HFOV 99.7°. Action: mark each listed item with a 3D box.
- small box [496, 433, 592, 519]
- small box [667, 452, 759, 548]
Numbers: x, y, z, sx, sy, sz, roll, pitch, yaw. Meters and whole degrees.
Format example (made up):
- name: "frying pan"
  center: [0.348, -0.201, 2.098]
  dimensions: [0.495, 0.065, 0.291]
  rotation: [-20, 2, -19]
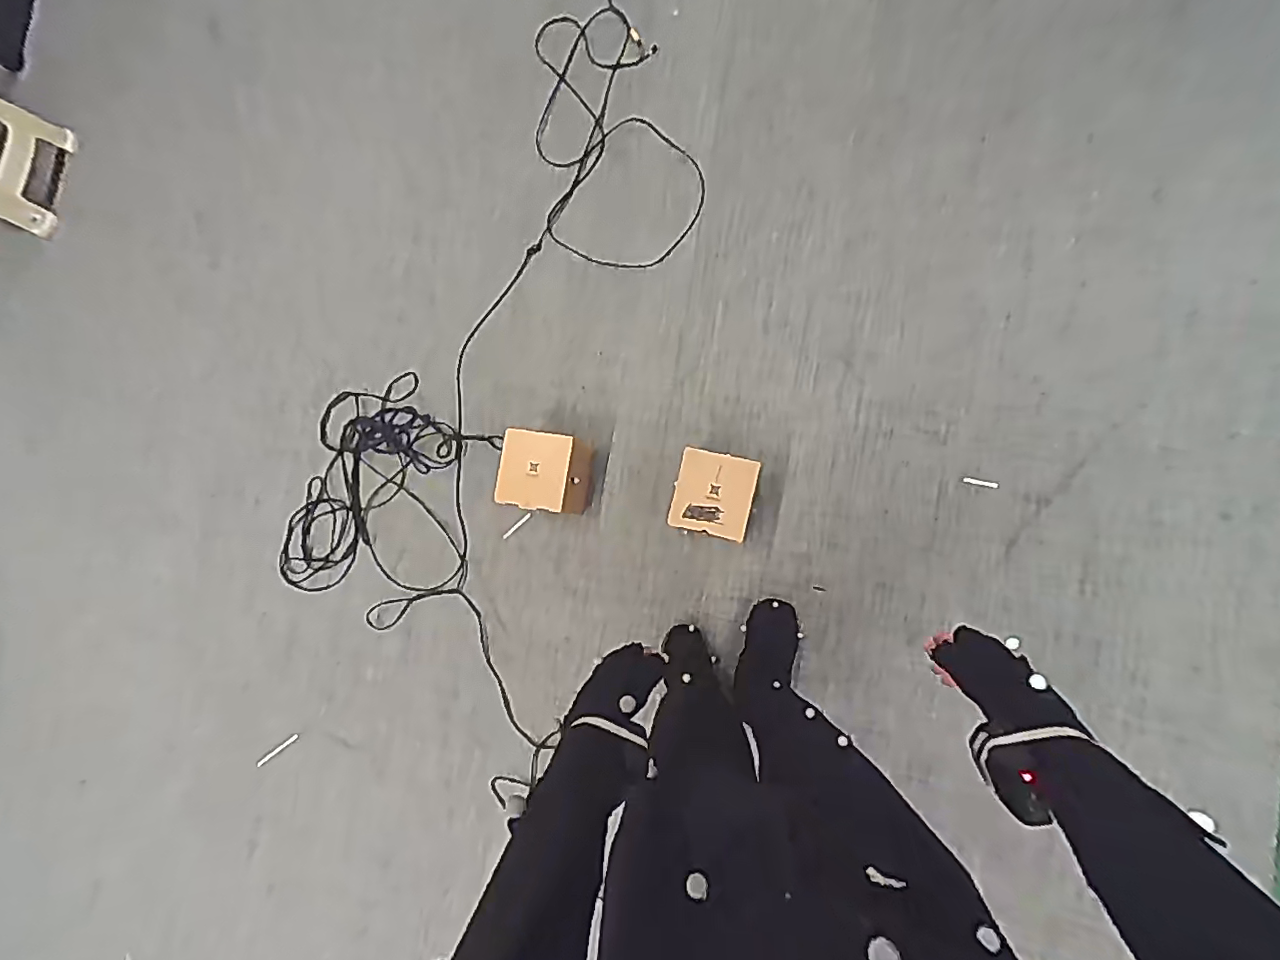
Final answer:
- name: "small box"
  center: [-0.223, -0.005, 1.301]
  dimensions: [0.168, 0.176, 0.179]
  rotation: [8, 86, 11]
- name: "small box"
  center: [0.169, 0.048, 1.223]
  dimensions: [0.168, 0.176, 0.179]
  rotation: [13, 87, 12]
